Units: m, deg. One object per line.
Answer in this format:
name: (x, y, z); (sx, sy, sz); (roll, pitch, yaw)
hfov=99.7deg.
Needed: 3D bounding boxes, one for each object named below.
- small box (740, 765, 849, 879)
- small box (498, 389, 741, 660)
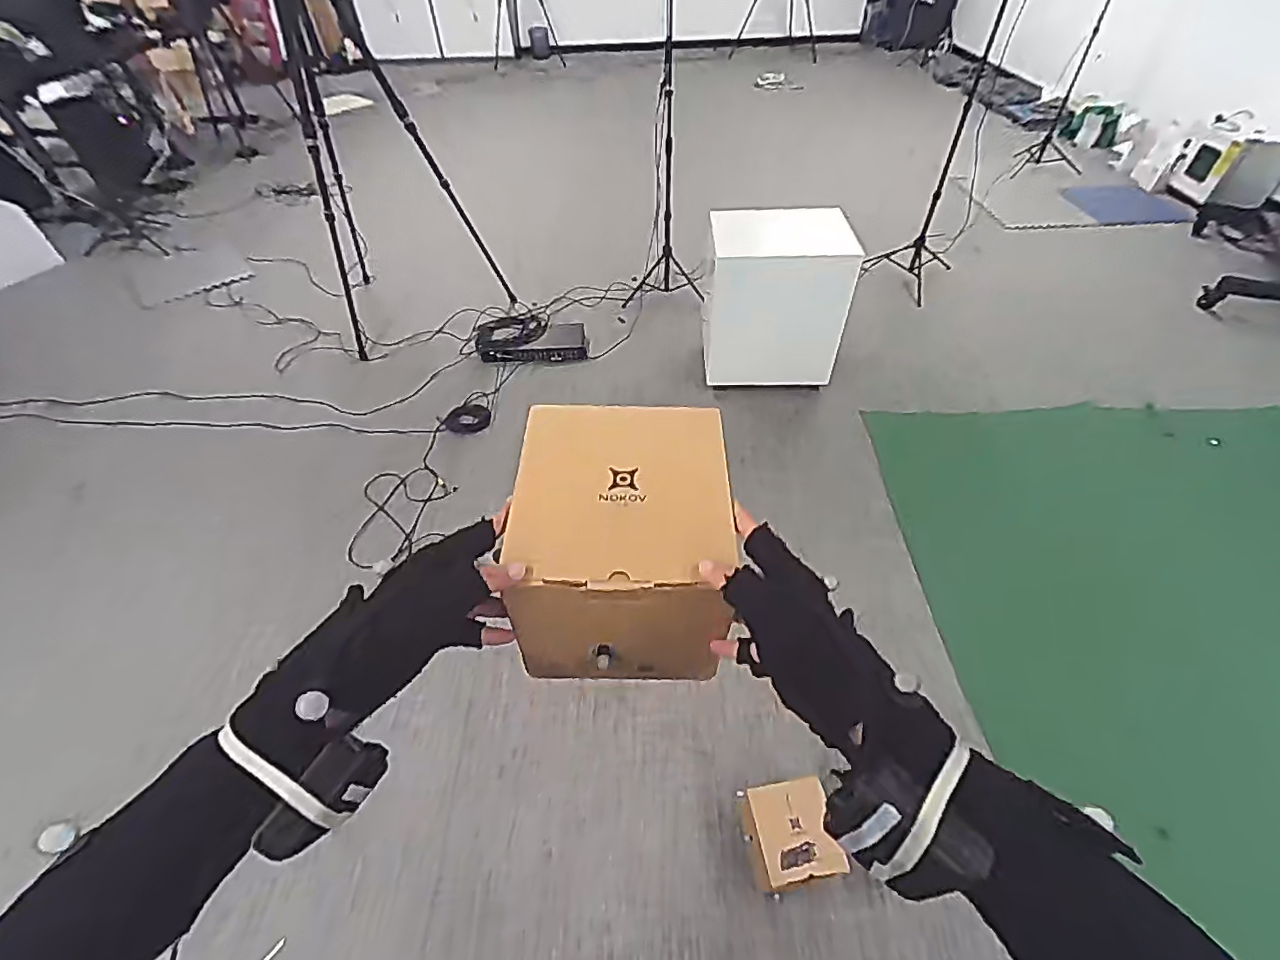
small box: (0.326, 0.749, 1.179); (0.168, 0.176, 0.179); (-8, 48, -5)
small box: (-0.014, 0.040, 0.473); (0.168, 0.176, 0.179); (-1, 50, 0)
